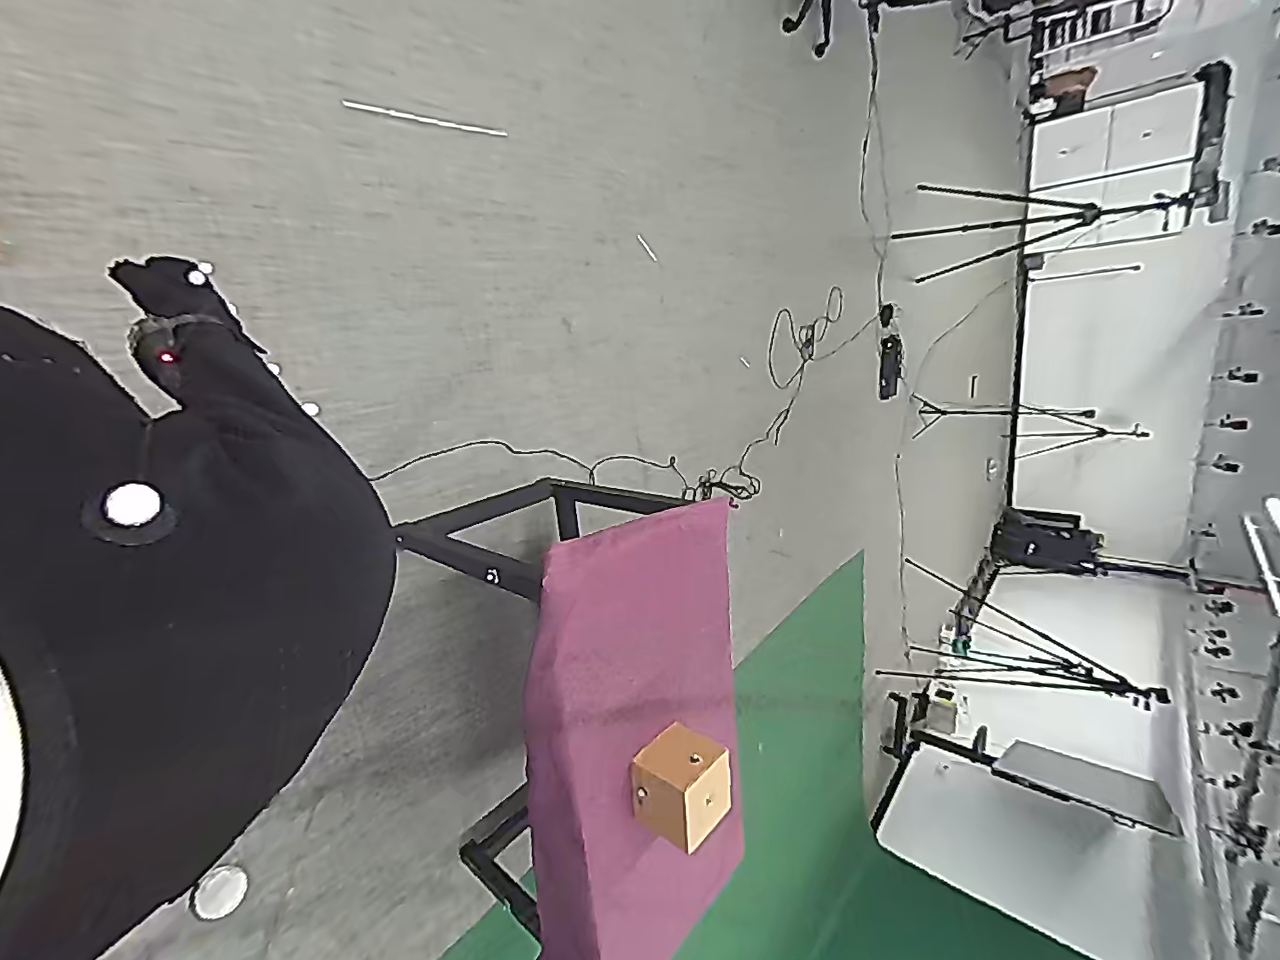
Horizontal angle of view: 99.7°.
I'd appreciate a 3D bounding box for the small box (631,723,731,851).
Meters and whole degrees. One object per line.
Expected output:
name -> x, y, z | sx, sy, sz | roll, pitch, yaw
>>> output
small box -> 0.099, 0.713, 1.283 | 0.179, 0.176, 0.168 | -15, 106, -46
